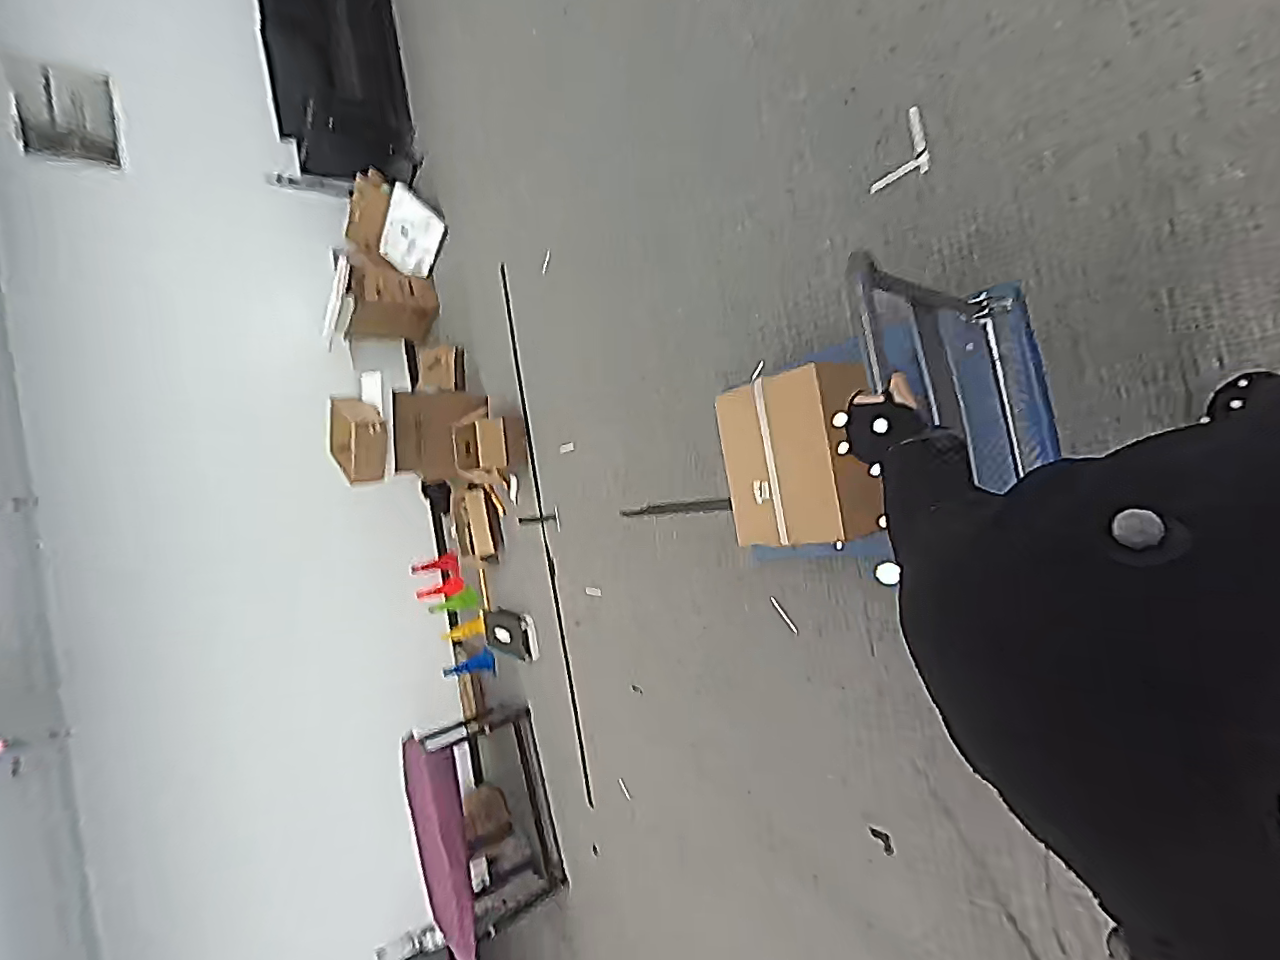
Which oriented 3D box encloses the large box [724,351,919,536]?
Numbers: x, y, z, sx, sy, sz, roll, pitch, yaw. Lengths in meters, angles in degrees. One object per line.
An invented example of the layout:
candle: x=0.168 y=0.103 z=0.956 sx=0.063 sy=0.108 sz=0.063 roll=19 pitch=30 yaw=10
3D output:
large box: x=0.462 y=-0.090 z=1.382 sx=0.320 sy=0.320 sz=0.408 roll=-11 pitch=90 yaw=53
